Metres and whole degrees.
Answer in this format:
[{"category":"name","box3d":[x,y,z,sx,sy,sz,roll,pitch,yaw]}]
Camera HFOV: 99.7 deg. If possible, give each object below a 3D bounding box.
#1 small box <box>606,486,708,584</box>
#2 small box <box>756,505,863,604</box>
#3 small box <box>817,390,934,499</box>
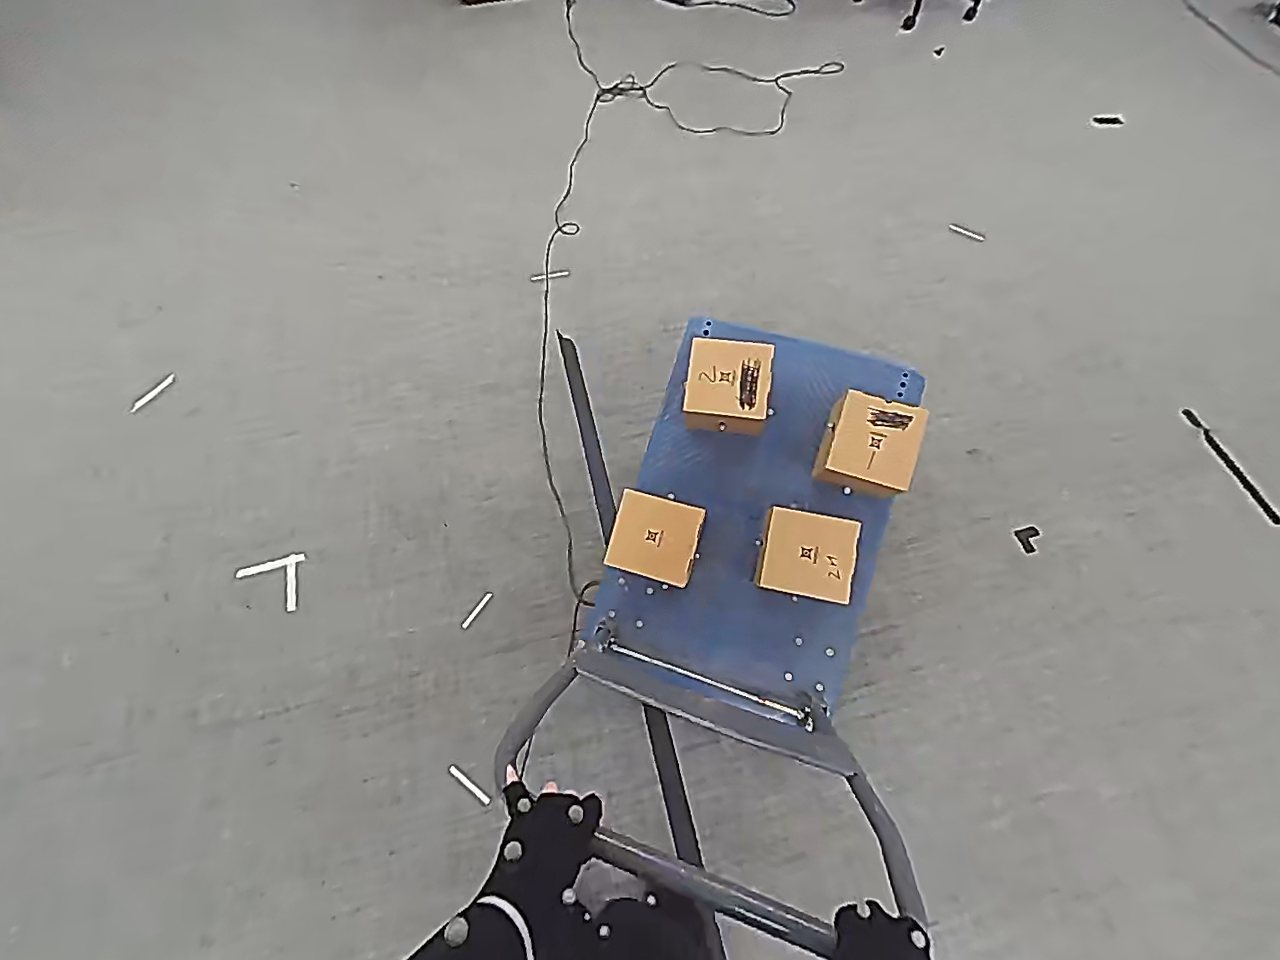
[{"category":"small box","box3d":[0.043,0.124,1.192,0.179,0.176,0.168,16,84,8]},{"category":"small box","box3d":[0.350,0.158,1.146,0.179,0.176,0.168,12,84,9]},{"category":"small box","box3d":[0.494,-0.069,1.161,0.168,0.176,0.179,18,86,10]}]
